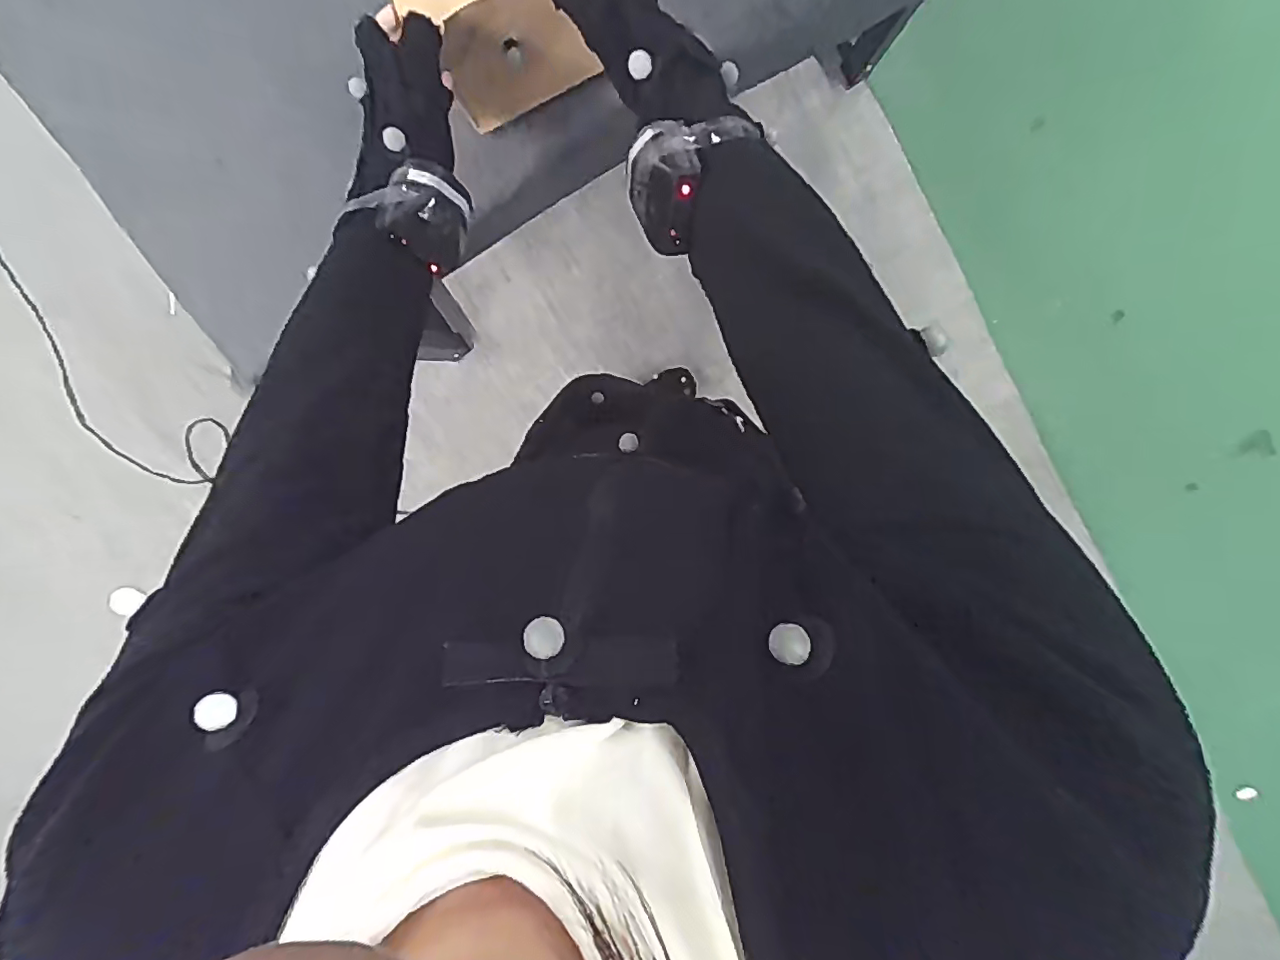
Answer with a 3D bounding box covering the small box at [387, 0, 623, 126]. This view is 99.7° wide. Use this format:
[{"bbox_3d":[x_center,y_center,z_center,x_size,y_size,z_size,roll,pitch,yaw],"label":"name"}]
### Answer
[{"bbox_3d":[-0.133,-0.472,0.493,0.179,0.176,0.168,-23,96,10],"label":"small box"}]
